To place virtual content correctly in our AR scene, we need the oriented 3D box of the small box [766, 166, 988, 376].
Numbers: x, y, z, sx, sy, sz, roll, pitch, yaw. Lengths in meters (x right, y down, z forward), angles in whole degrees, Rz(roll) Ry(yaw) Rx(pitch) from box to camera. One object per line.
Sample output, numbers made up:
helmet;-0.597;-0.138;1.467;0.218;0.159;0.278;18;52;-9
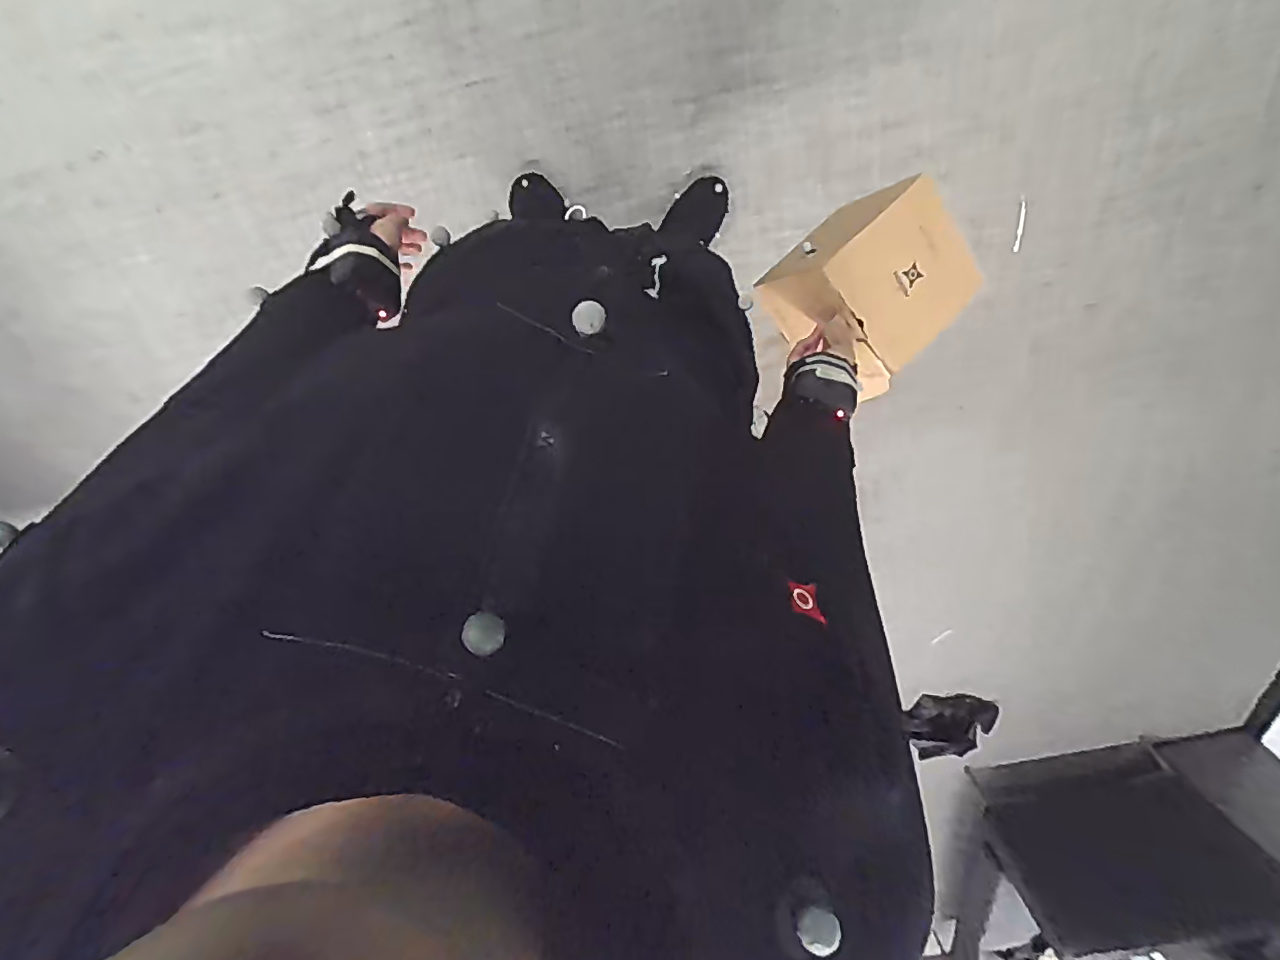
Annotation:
small box;0.288;-0.251;0.696;0.179;0.176;0.168;-43;111;-5
